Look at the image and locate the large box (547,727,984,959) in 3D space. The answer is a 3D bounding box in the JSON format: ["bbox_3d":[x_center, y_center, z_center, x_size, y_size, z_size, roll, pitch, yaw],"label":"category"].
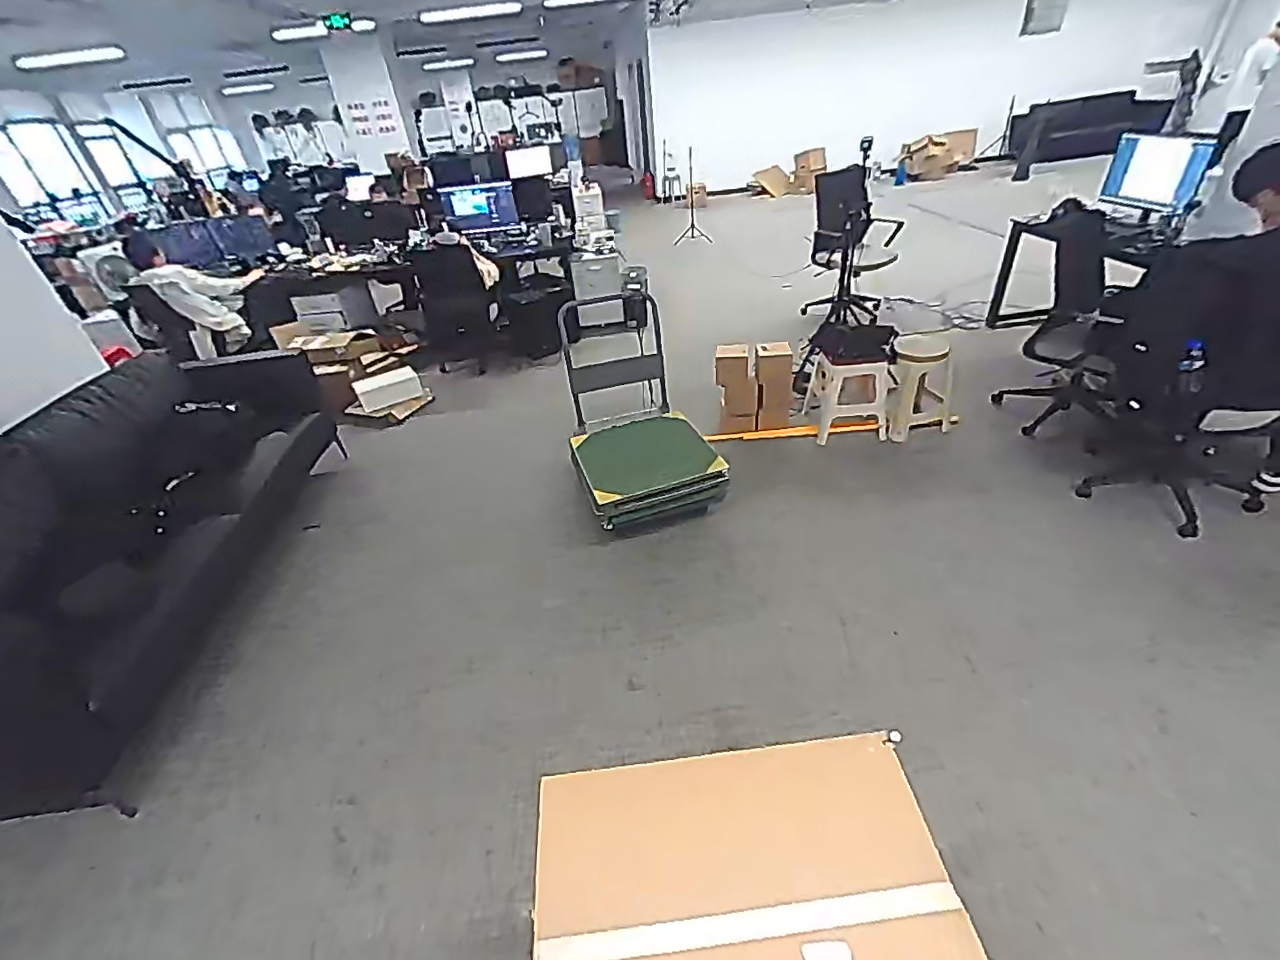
[{"bbox_3d":[0.118,0.530,0.620,0.408,0.320,0.320,-7,43,-2],"label":"large box"}]
